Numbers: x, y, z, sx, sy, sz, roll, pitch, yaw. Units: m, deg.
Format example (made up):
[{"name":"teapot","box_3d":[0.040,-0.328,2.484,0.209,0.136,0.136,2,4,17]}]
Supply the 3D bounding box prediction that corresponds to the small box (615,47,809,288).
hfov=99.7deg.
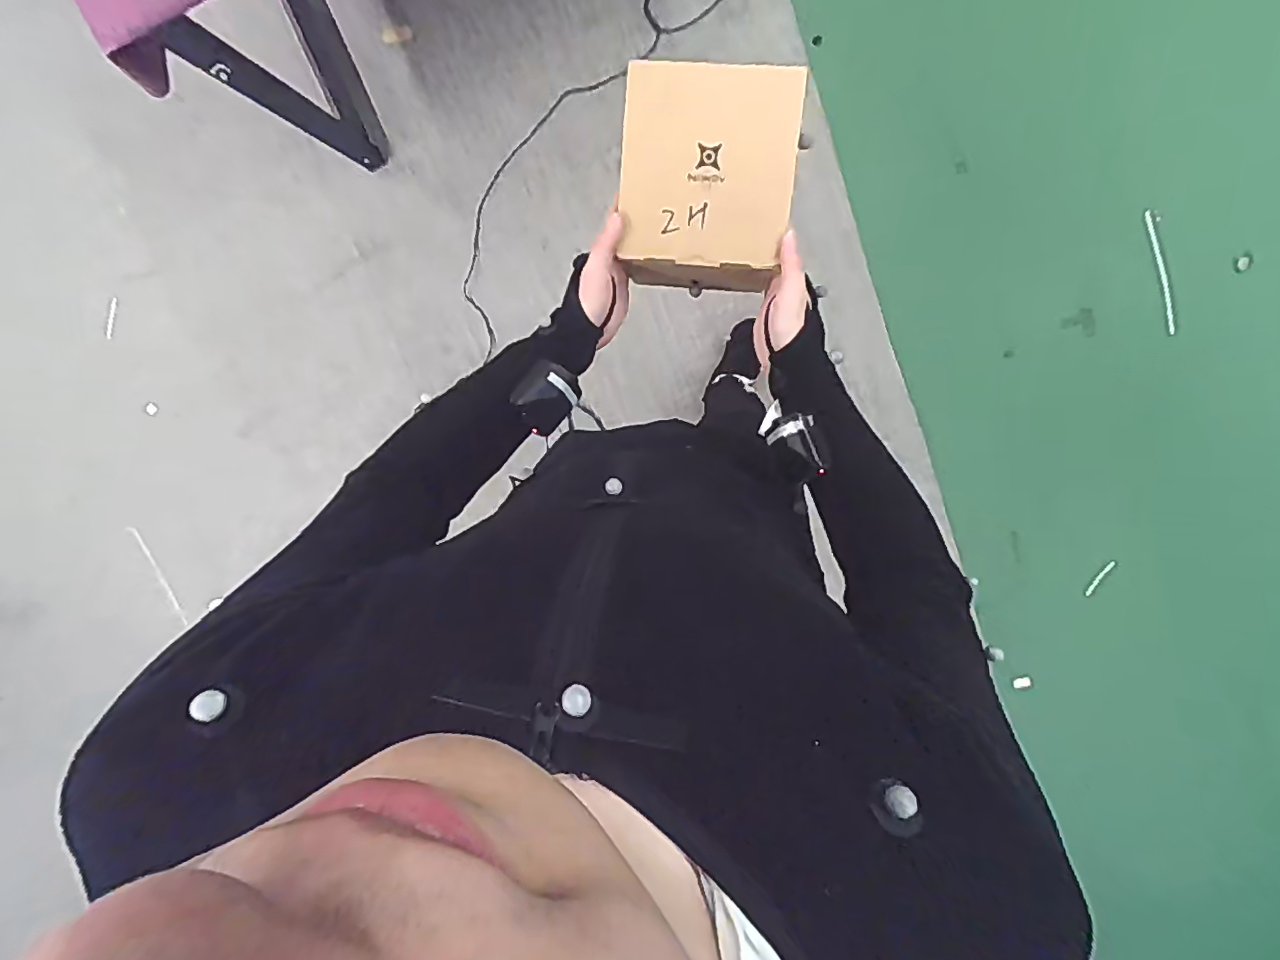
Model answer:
[{"name":"small box","box_3d":[0.071,-0.319,0.585,0.168,0.176,0.179,6,102,5]}]

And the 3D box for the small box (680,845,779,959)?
[{"name":"small box","box_3d":[0.181,0.885,1.109,0.168,0.176,0.179,-13,100,10]}]
